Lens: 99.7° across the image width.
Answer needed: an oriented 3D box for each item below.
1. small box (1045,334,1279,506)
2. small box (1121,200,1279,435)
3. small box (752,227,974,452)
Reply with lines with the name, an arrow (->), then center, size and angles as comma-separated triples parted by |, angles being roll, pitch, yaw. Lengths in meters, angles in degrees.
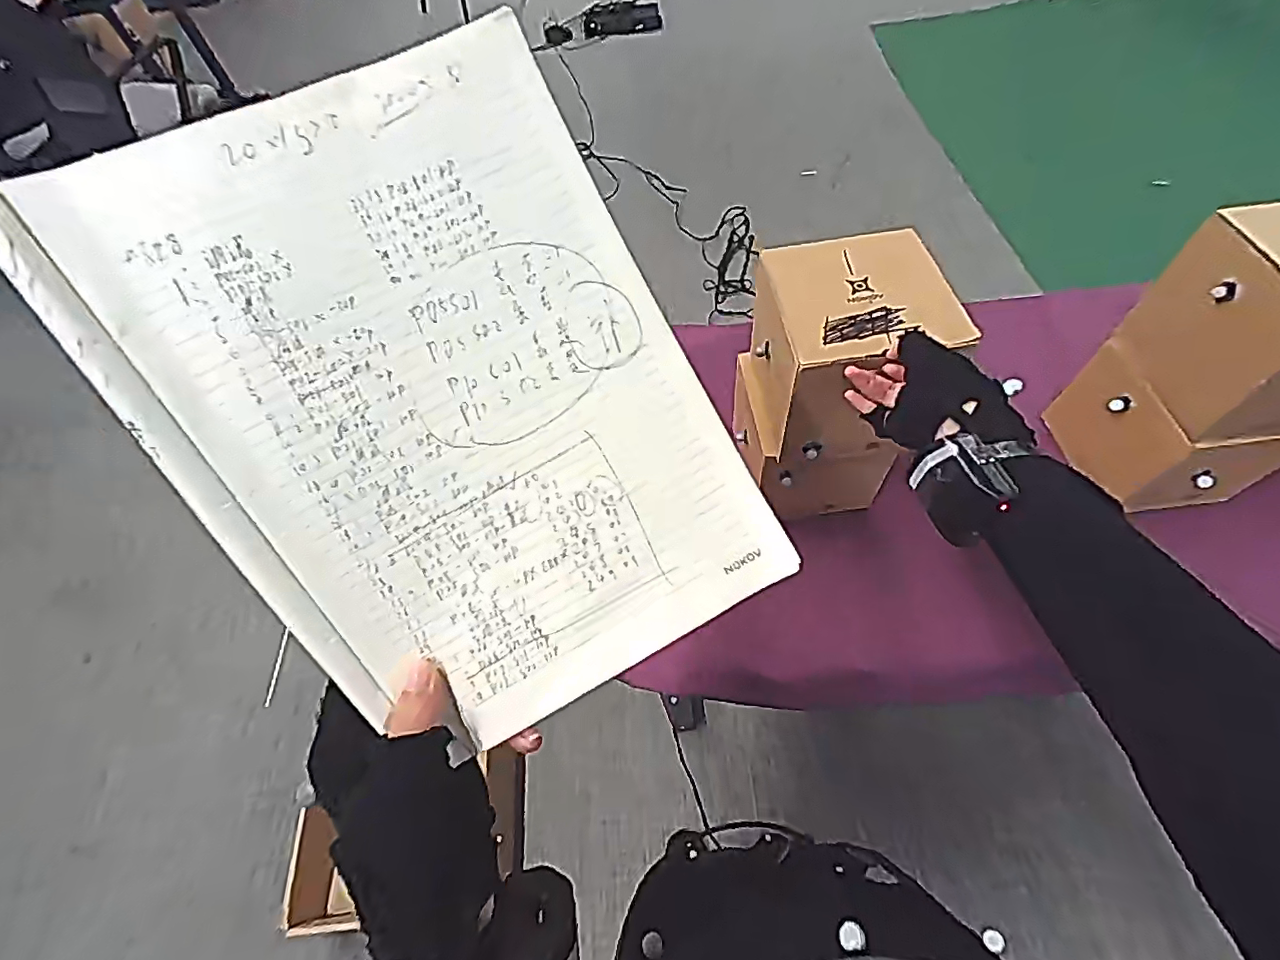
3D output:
small box -> 0.687, -0.078, 0.705 | 0.168, 0.176, 0.179 | -7, 58, 3
small box -> 0.673, -0.169, 0.566 | 0.168, 0.176, 0.179 | -5, 58, 4
small box -> 0.225, -0.145, 0.602 | 0.168, 0.176, 0.179 | -7, 57, 2
